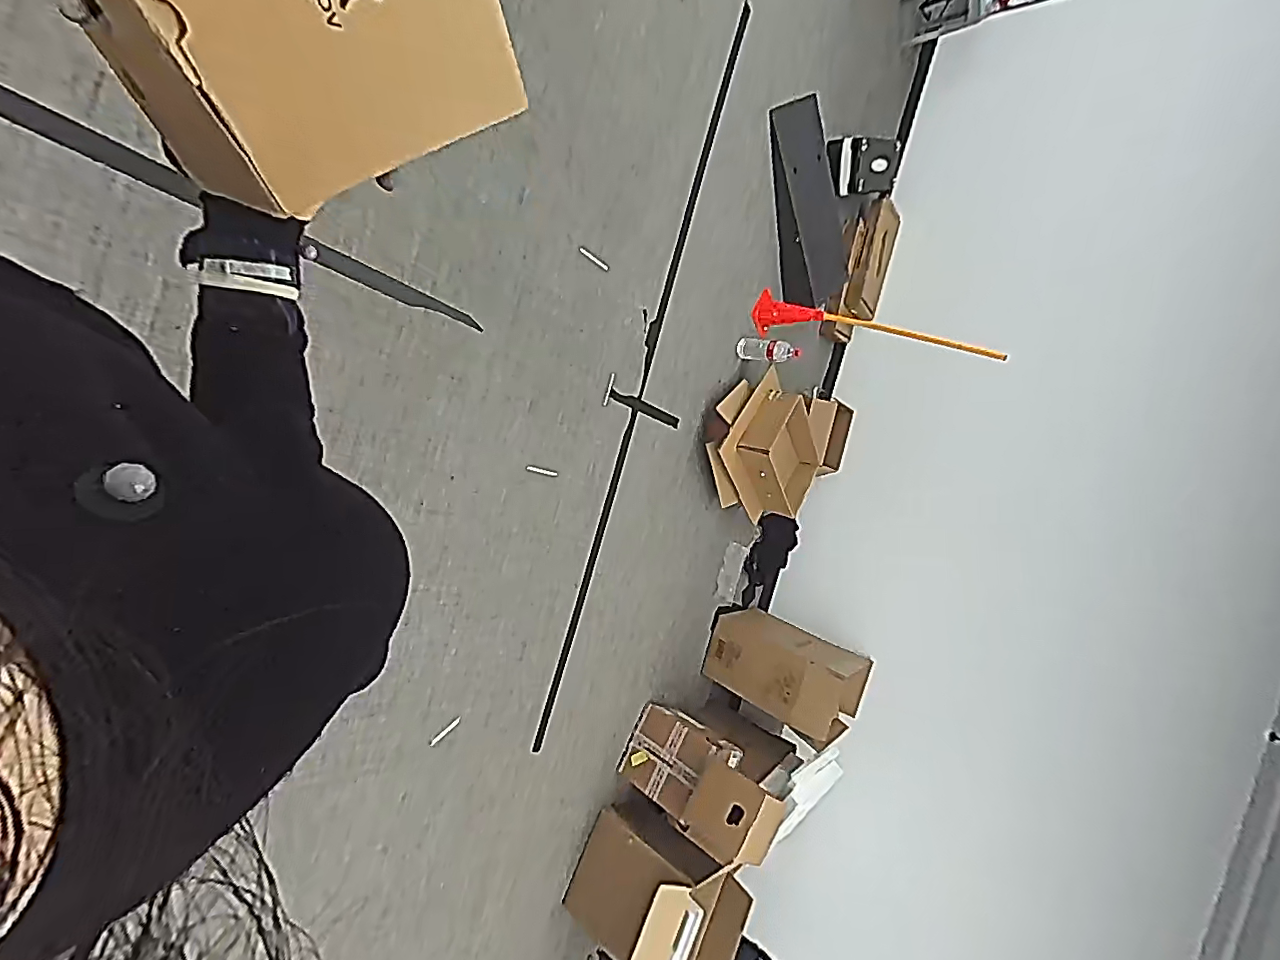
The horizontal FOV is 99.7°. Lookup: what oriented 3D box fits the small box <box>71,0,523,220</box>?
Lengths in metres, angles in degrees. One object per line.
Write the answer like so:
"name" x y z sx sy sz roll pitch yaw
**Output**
"small box" -0.207 -0.281 0.318 0.179 0.176 0.168 -43 142 -24
